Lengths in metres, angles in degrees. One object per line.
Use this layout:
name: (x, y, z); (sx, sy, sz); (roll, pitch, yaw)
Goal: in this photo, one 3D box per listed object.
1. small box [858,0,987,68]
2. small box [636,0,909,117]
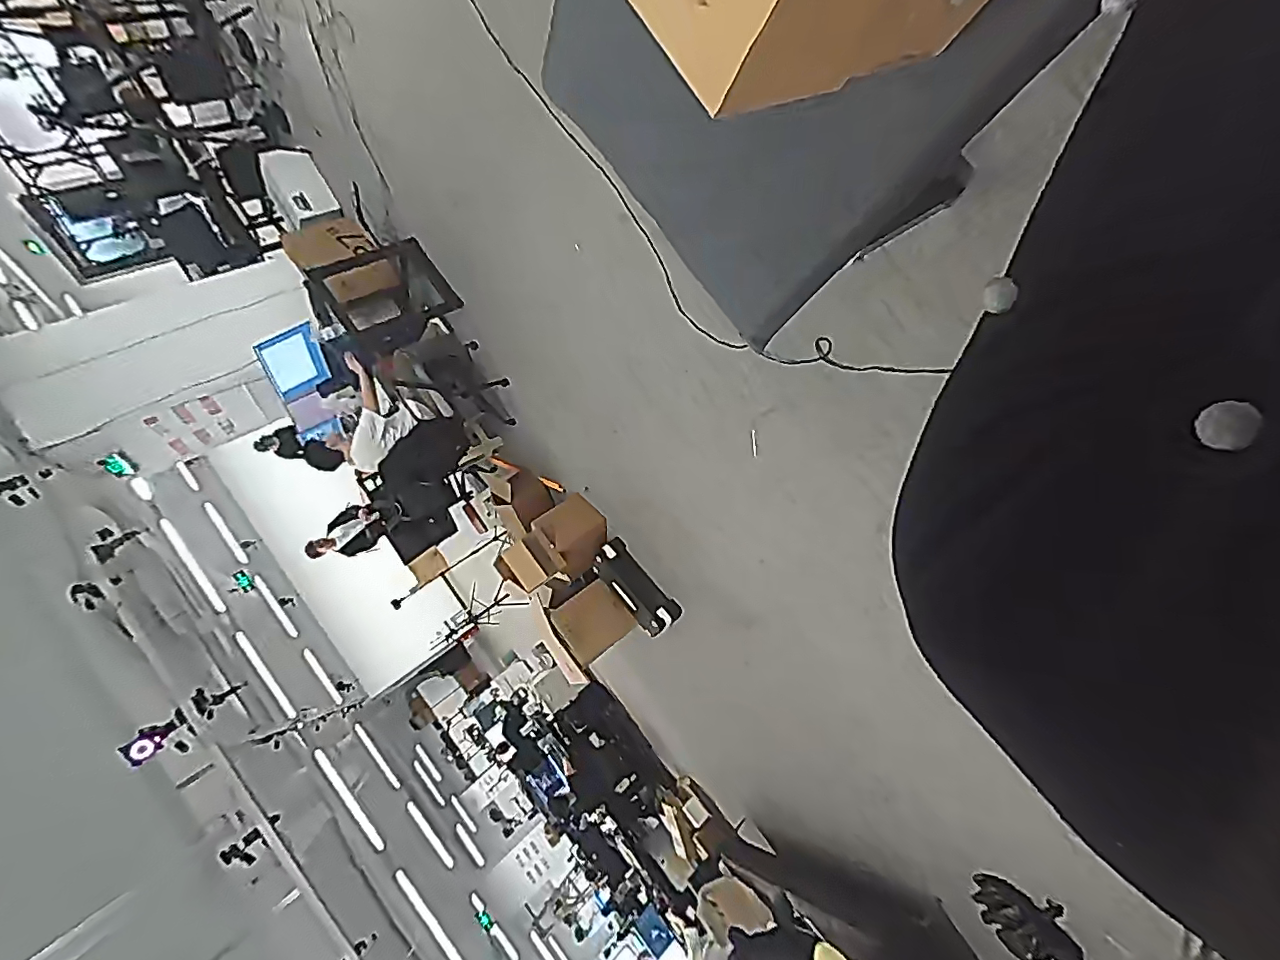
small box: (0.232, -0.484, 0.442); (0.168, 0.176, 0.179); (56, 152, 1)
small box: (0.108, -0.403, 0.375); (0.168, 0.176, 0.179); (57, 152, 3)
